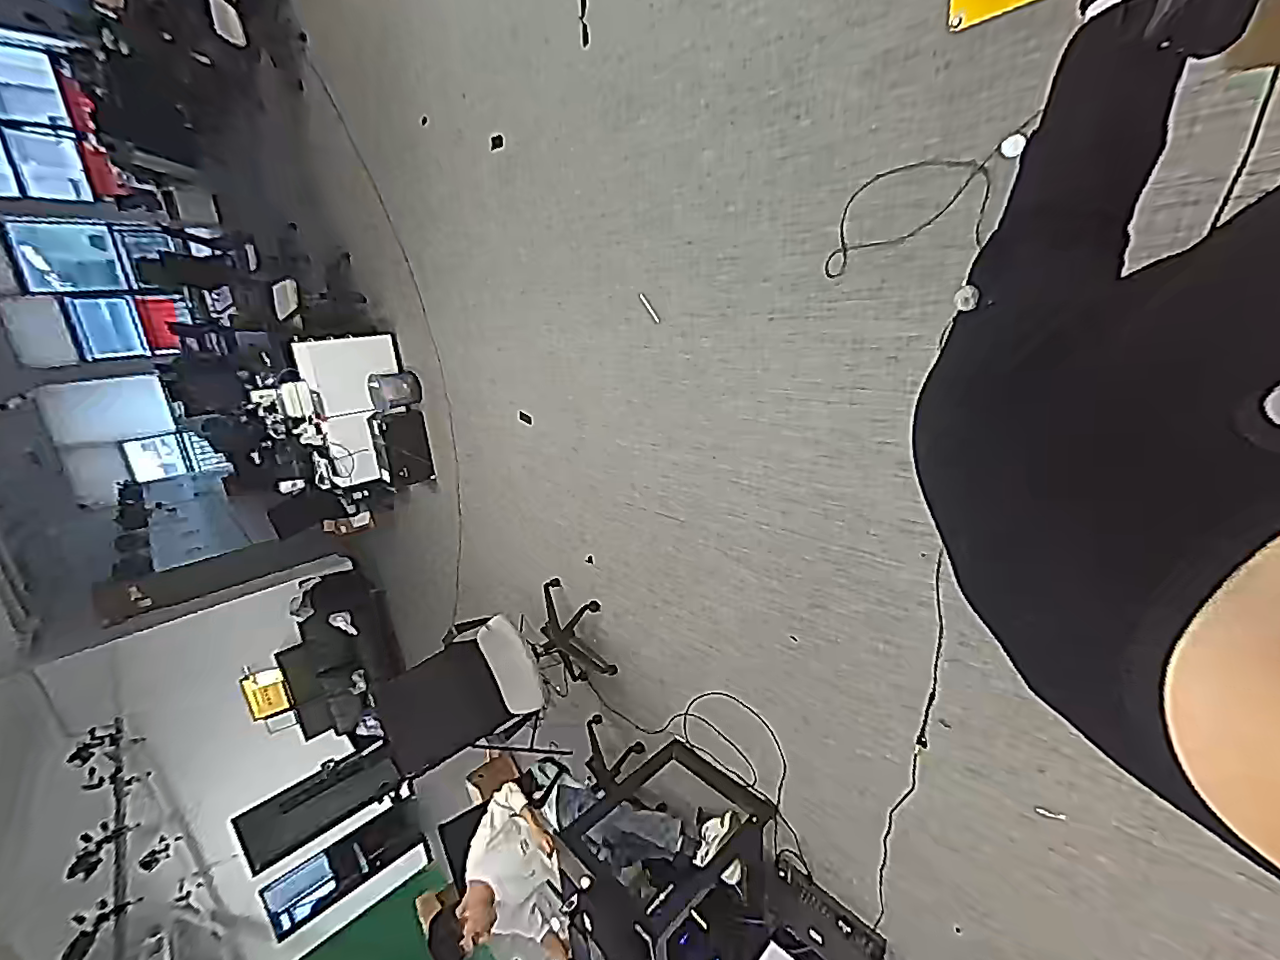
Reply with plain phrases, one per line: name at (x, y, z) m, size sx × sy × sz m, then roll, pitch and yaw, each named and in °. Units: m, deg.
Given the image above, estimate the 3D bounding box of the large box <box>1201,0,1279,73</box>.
large box at (0.594, -0.444, 0.251) m, size 0.408 × 0.320 × 0.320 m, roll 22°, pitch 124°, yaw 42°
